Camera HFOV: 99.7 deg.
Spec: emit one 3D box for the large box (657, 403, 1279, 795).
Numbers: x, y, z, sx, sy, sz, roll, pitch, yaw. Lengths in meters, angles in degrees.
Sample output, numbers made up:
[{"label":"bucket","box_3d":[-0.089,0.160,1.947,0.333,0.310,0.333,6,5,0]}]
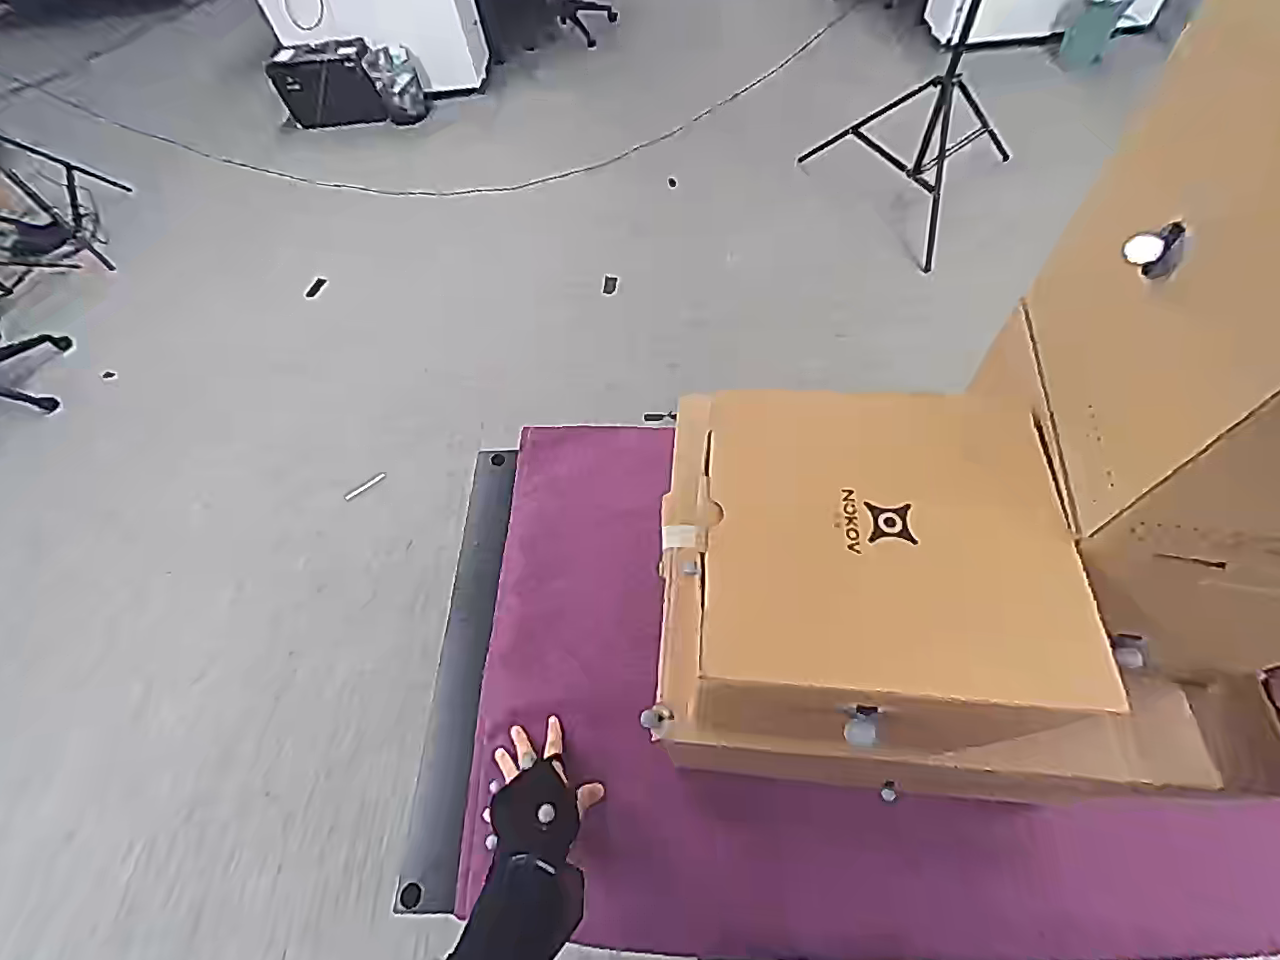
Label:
[{"label":"large box","box_3d":[0.236,0.136,0.560,0.408,0.320,0.320,1,57,7]}]
